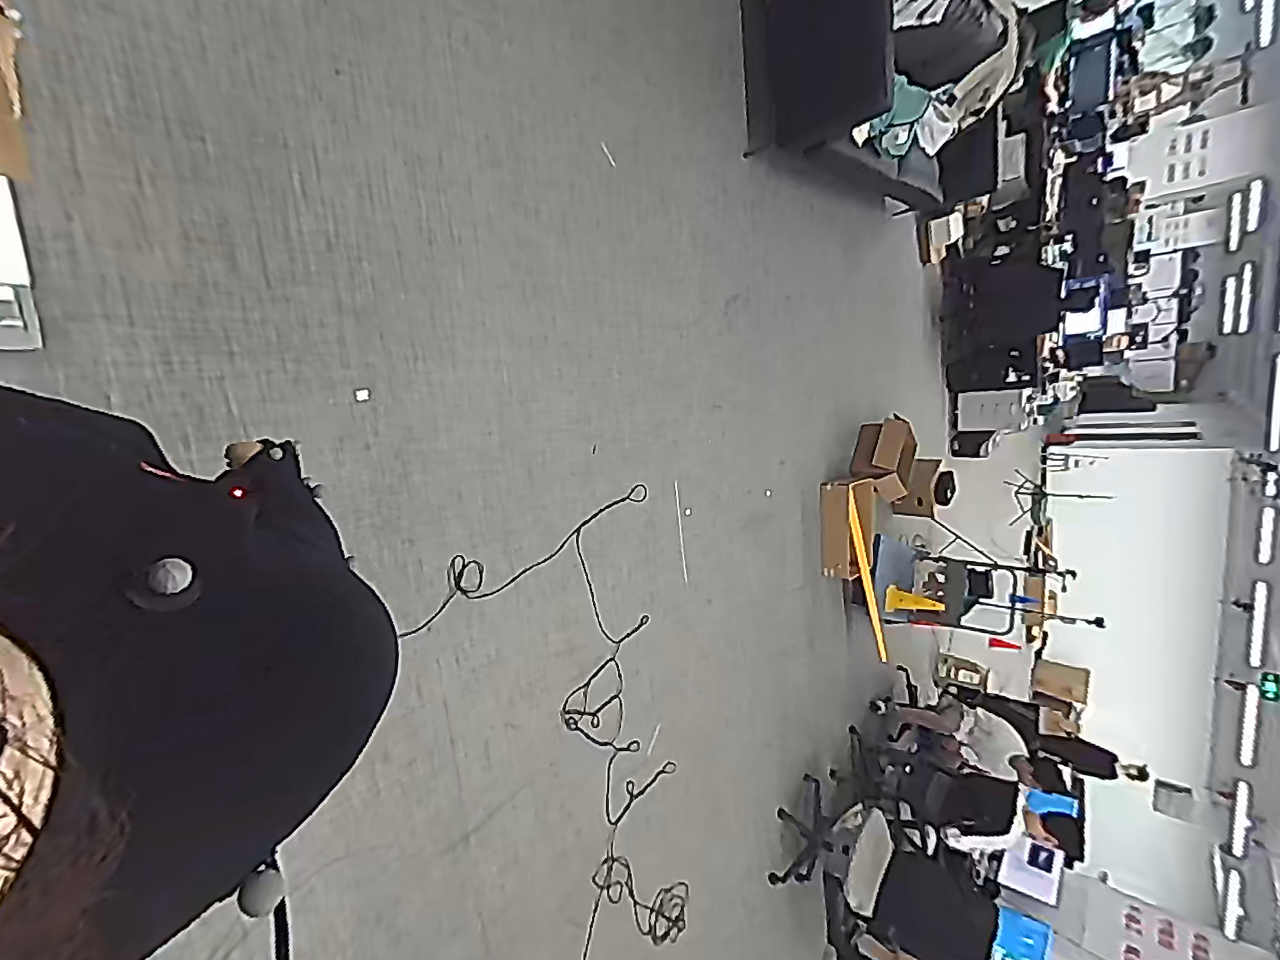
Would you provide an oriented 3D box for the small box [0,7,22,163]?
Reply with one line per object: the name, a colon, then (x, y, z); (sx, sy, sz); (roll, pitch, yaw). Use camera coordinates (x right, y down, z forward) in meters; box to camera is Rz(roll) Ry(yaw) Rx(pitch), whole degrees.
small box: (-0.705, -0.416, 0.491); (0.179, 0.176, 0.168); (-11, 100, -44)
